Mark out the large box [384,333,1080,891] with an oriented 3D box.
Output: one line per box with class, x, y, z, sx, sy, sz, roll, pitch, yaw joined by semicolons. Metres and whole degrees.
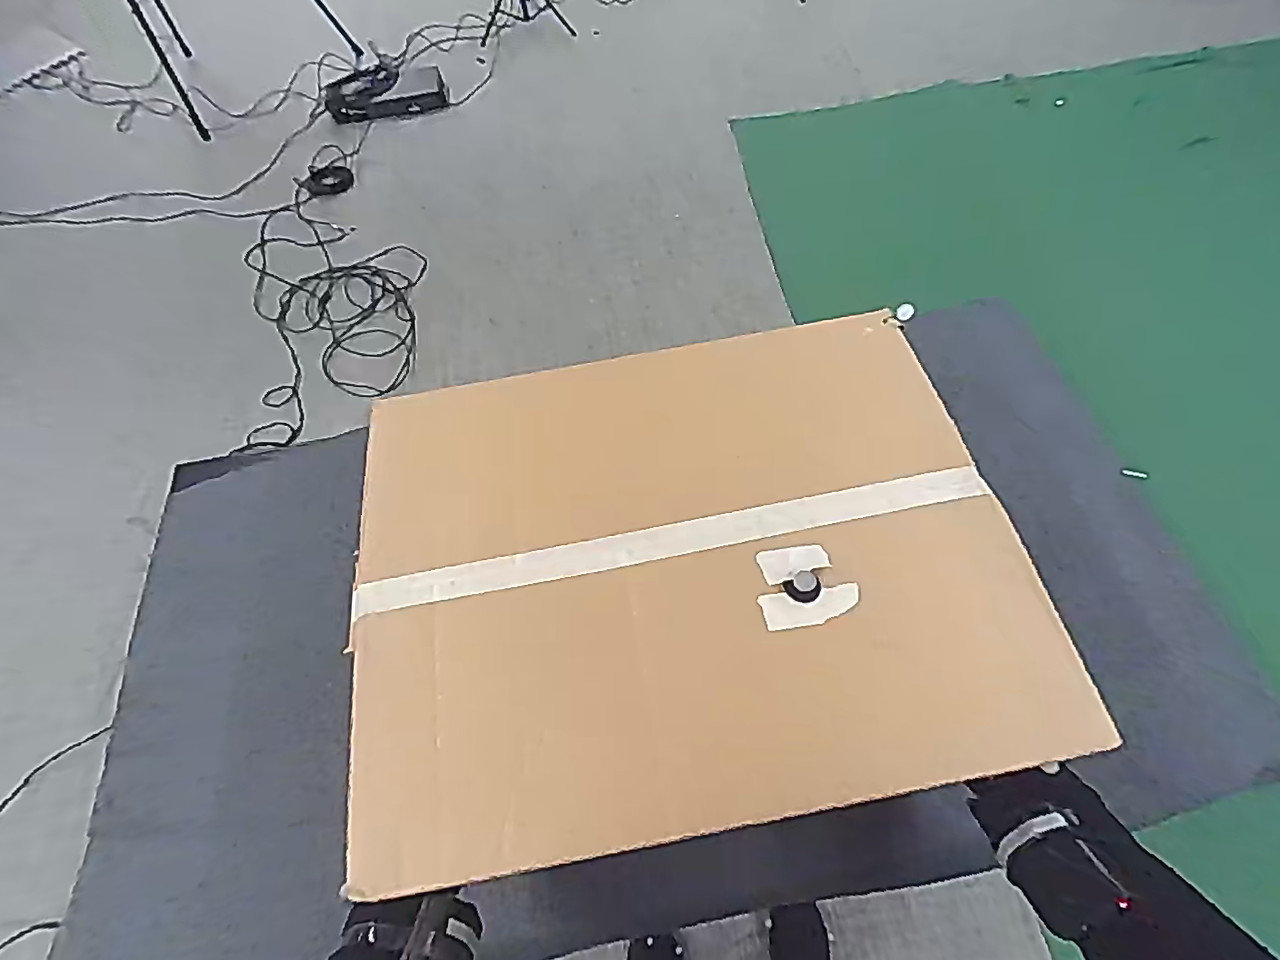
large box;0.036;0.118;0.495;0.408;0.320;0.320;-11;63;-2
